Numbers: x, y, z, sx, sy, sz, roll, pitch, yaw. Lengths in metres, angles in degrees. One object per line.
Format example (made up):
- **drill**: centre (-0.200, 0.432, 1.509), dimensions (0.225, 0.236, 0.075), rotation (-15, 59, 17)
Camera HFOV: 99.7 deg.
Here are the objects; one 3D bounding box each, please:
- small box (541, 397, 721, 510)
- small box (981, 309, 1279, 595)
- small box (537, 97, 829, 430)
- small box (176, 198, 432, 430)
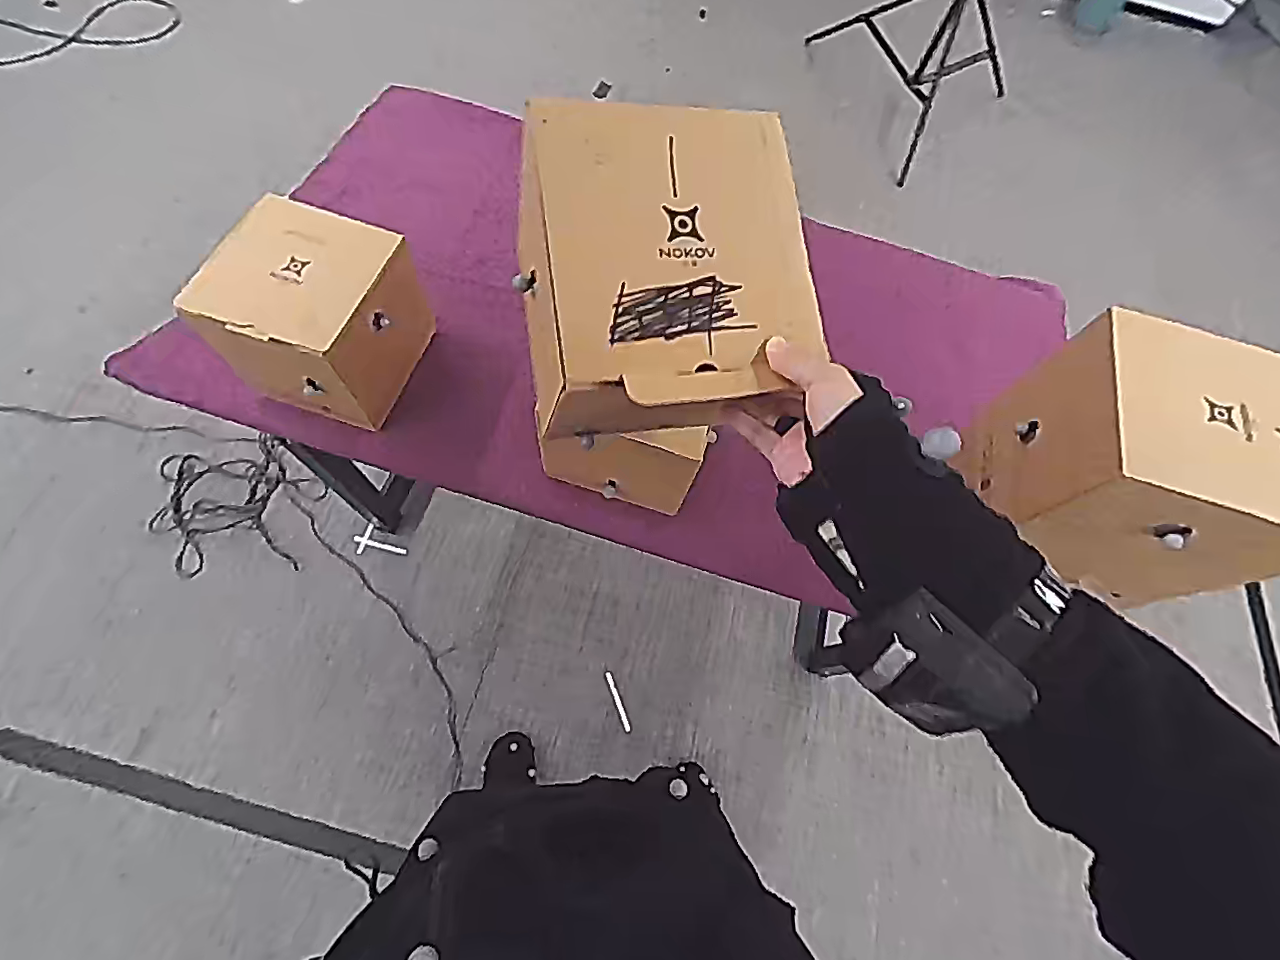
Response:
- **small box**: centre (-0.002, -0.078, 0.636), dimensions (0.179, 0.176, 0.168), rotation (18, 67, 1)
- **small box**: centre (0.436, -0.012, 0.476), dimensions (0.179, 0.176, 0.168), rotation (19, 66, 2)
- **small box**: centre (0.014, -0.136, 0.404), dimensions (0.168, 0.176, 0.179), rotation (-5, 85, -14)
- **small box**: centre (-0.369, -0.185, 0.640), dimensions (0.168, 0.176, 0.179), rotation (18, 65, -1)
